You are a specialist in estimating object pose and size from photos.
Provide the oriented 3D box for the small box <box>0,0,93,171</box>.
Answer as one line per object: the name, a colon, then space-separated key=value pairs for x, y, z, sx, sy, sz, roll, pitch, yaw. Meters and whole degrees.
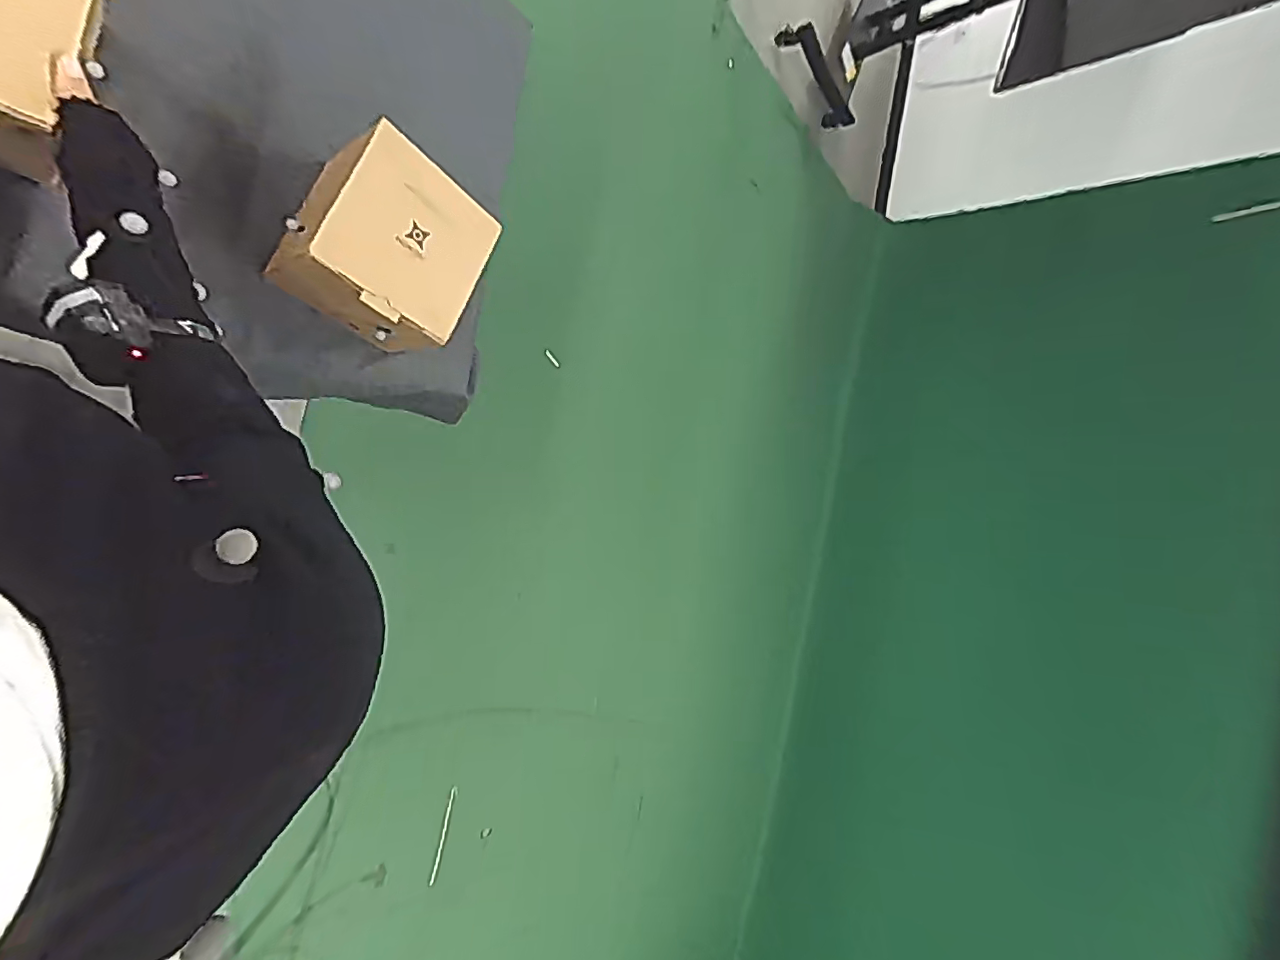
small box: x=-0.533 y=-0.367 z=0.396 sx=0.168 sy=0.176 sz=0.179 roll=15 pitch=85 yaw=-49

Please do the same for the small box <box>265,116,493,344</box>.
small box: x=-0.318 y=-0.281 z=0.655 sx=0.168 sy=0.176 sz=0.179 roll=33 pitch=71 yaw=-47
